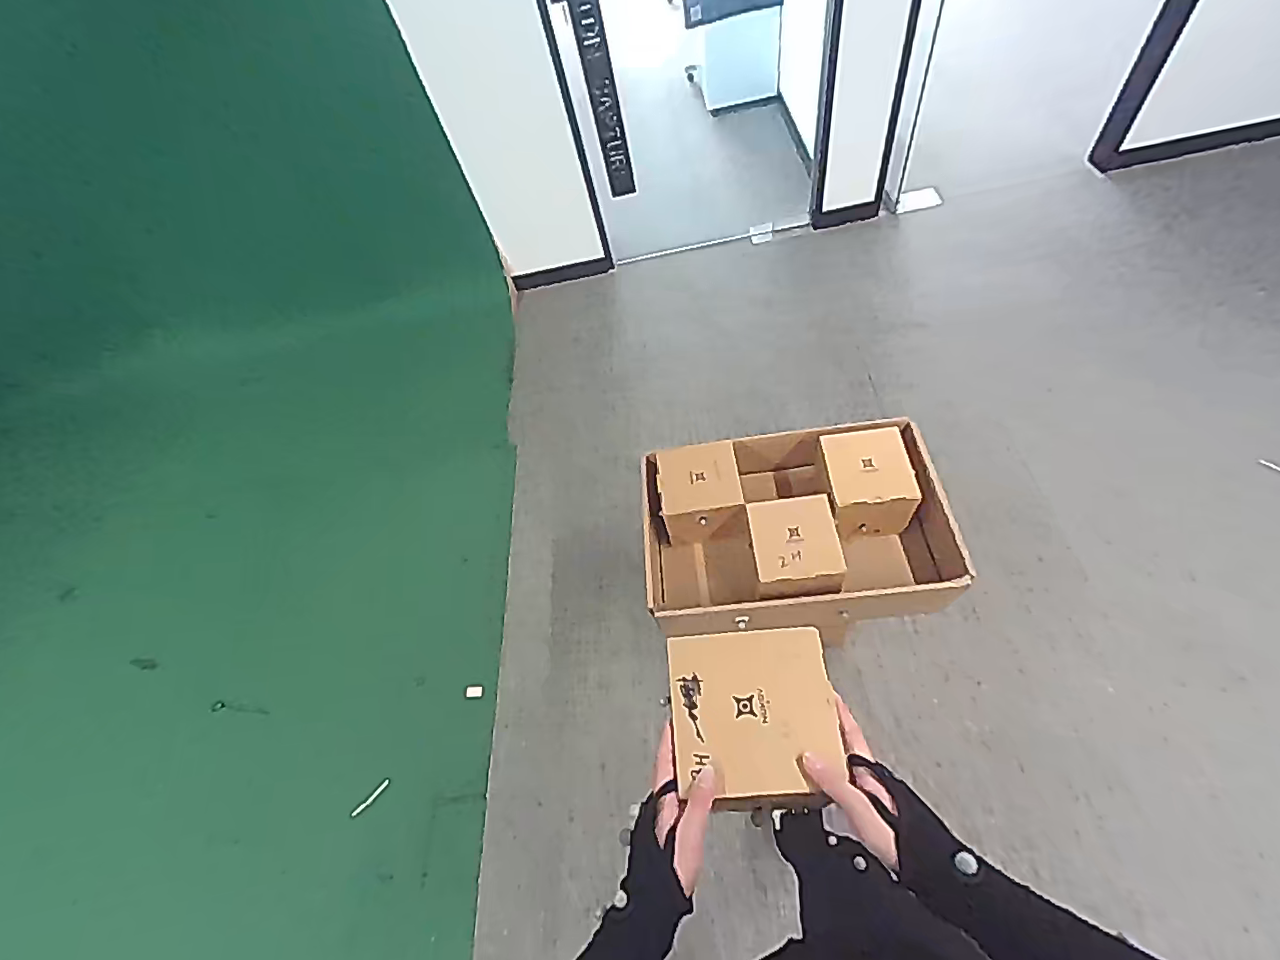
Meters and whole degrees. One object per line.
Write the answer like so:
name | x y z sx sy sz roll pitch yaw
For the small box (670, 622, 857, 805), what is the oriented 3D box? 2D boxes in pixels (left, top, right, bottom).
small box | 0.130 0.280 0.640 0.179 0.176 0.168 -5 55 2
